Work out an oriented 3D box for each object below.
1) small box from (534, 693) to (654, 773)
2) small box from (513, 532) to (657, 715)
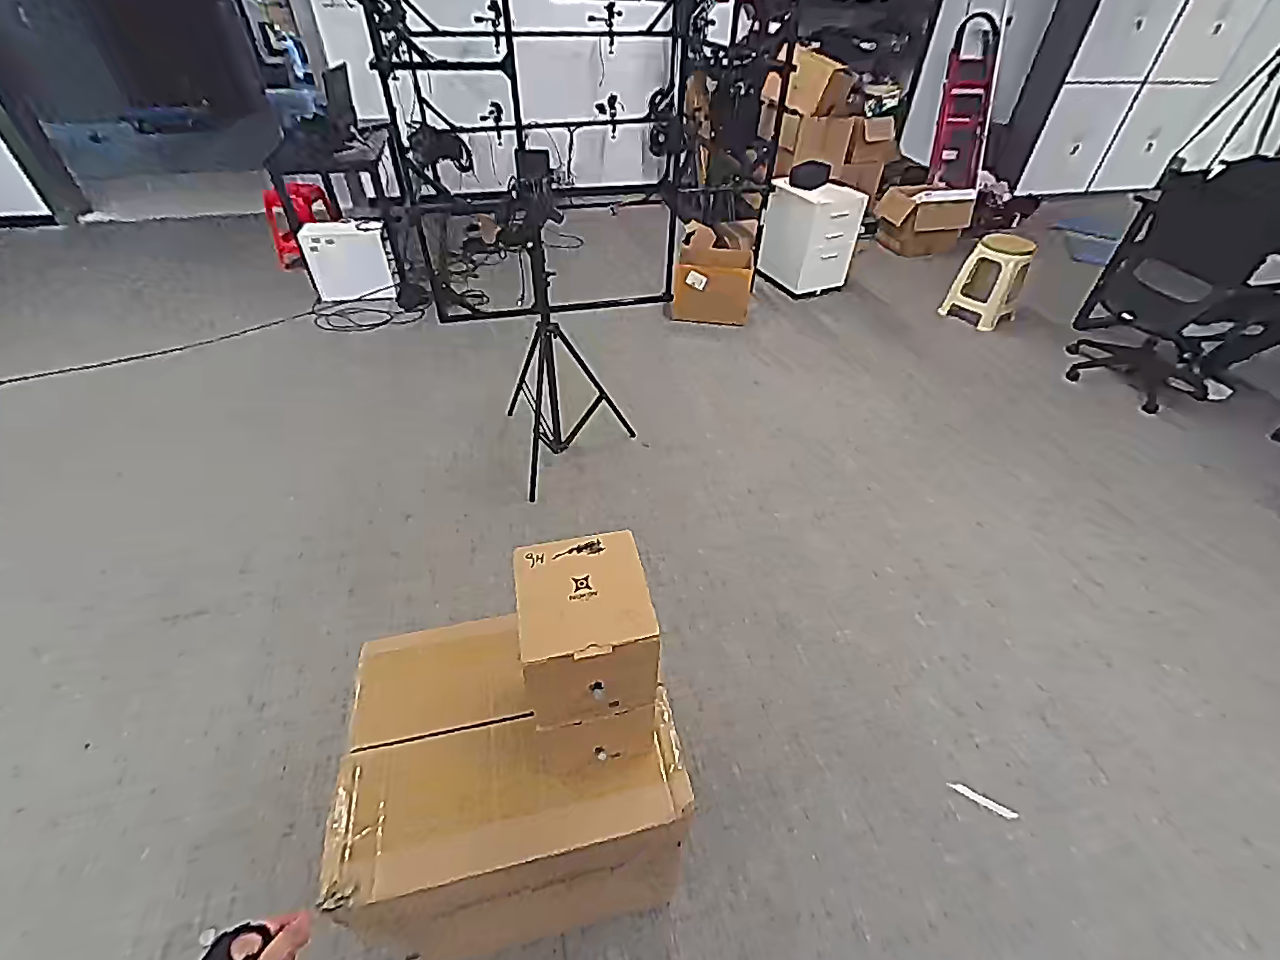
[{"bbox_3d":[-0.080,0.324,0.847,0.168,0.176,0.179,-10,44,-10],"label":"small box"},{"bbox_3d":[-0.075,0.200,0.739,0.168,0.176,0.179,-9,44,-10],"label":"small box"}]
